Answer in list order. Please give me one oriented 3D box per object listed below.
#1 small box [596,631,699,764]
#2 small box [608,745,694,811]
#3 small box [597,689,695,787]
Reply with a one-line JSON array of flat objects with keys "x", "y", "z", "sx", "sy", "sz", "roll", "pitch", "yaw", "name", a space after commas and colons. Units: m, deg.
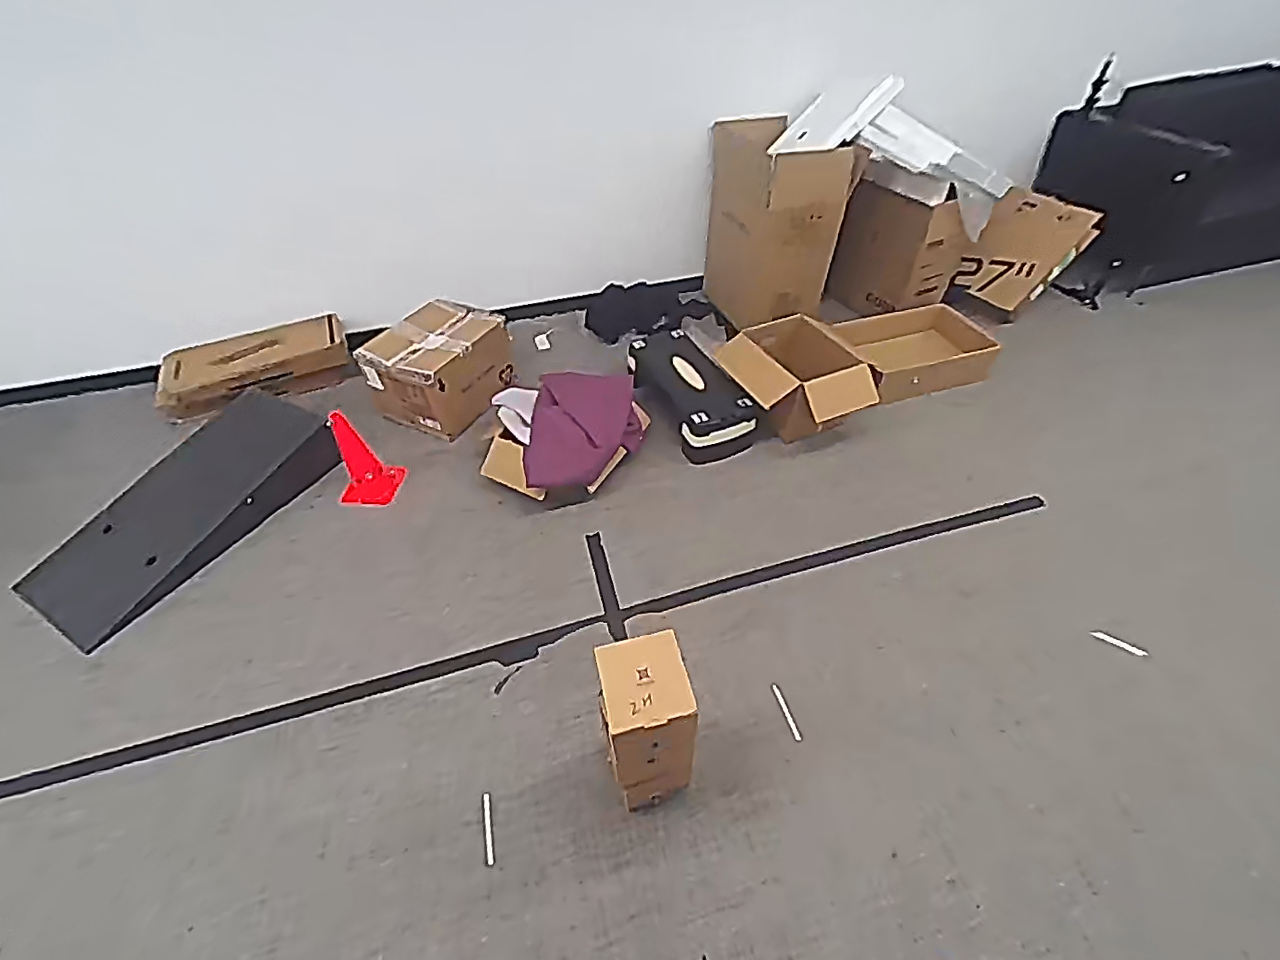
[{"x": 0.011, "y": 0.435, "z": 1.081, "sx": 0.168, "sy": 0.176, "sz": 0.179, "roll": -11, "pitch": 47, "yaw": -8, "name": "small box"}, {"x": 0.019, "y": 0.666, "z": 1.315, "sx": 0.168, "sy": 0.176, "sz": 0.179, "roll": -17, "pitch": 49, "yaw": -13, "name": "small box"}, {"x": 0.013, "y": 0.551, "z": 1.197, "sx": 0.179, "sy": 0.176, "sz": 0.168, "roll": -13, "pitch": 47, "yaw": -11, "name": "small box"}]
